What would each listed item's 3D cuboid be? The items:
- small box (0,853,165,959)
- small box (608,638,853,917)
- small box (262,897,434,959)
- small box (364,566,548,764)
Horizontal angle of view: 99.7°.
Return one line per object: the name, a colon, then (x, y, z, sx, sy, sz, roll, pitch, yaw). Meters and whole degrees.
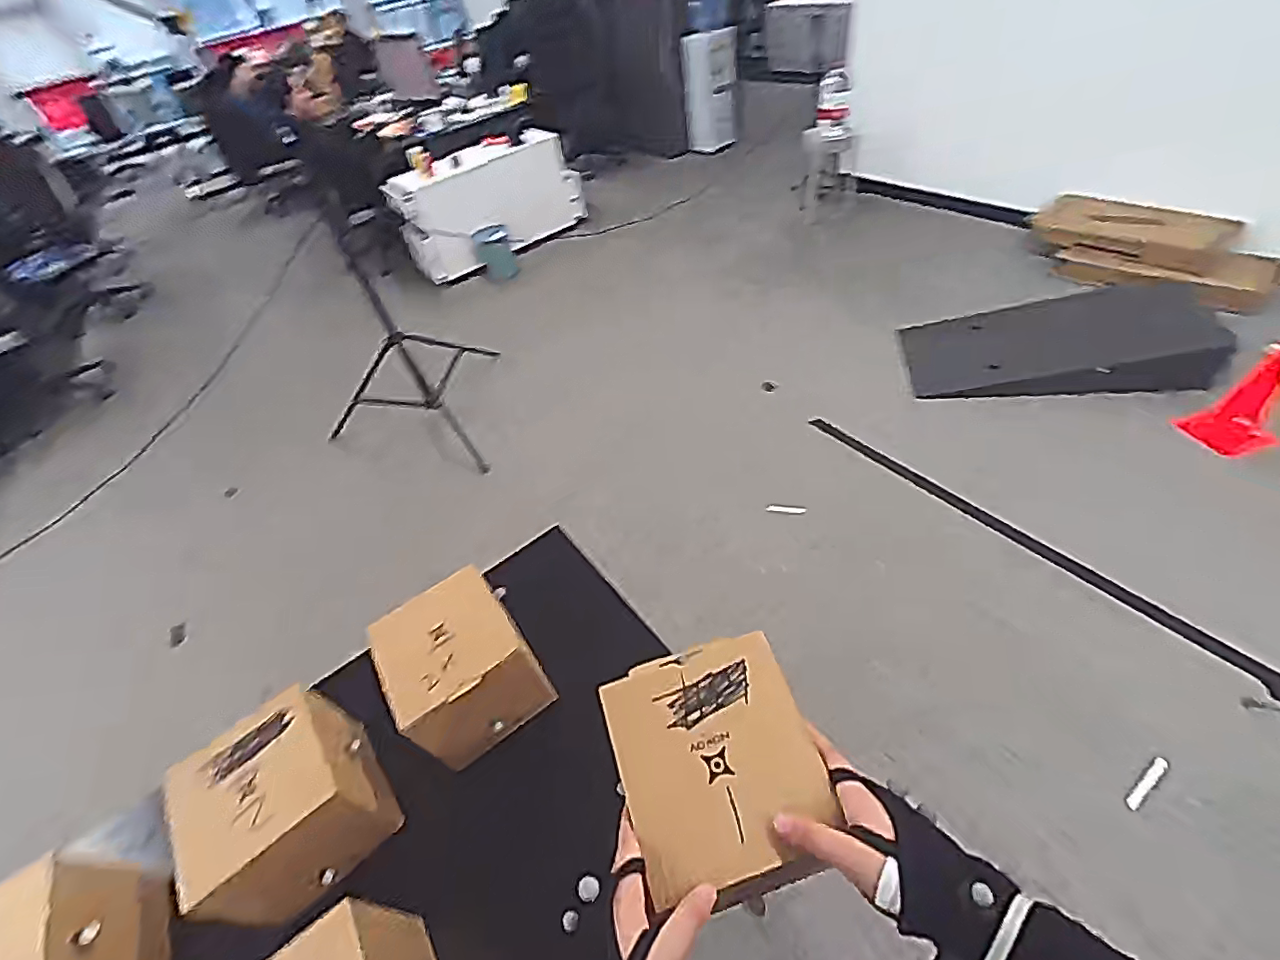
small box: (-0.664, 0.560, 0.586, 0.168, 0.176, 0.179, -33, 49, -18)
small box: (0.079, 0.289, 0.526, 0.168, 0.176, 0.179, -18, 47, -3)
small box: (-0.299, 0.551, 0.512, 0.179, 0.176, 0.168, -34, 50, -20)
small box: (-0.257, 0.265, 0.775, 0.168, 0.176, 0.179, -33, 49, -17)
